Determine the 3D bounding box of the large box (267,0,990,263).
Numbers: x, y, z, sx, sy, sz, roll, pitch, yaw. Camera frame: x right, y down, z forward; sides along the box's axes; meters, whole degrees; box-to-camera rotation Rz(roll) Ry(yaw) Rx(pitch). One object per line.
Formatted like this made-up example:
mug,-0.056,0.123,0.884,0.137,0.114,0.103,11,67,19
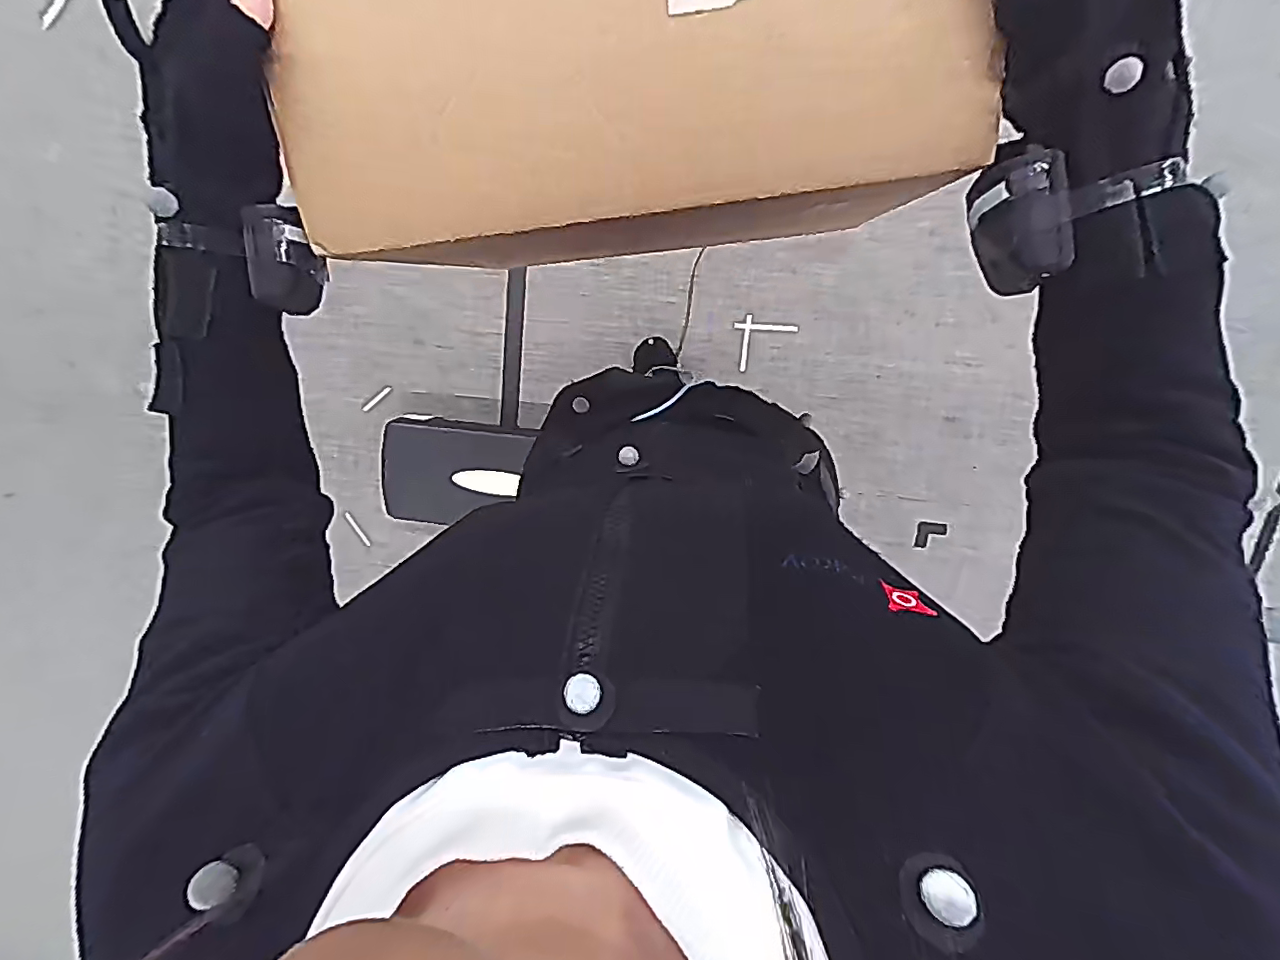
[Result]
large box,-0.007,-0.364,0.419,0.408,0.320,0.320,-4,110,9
